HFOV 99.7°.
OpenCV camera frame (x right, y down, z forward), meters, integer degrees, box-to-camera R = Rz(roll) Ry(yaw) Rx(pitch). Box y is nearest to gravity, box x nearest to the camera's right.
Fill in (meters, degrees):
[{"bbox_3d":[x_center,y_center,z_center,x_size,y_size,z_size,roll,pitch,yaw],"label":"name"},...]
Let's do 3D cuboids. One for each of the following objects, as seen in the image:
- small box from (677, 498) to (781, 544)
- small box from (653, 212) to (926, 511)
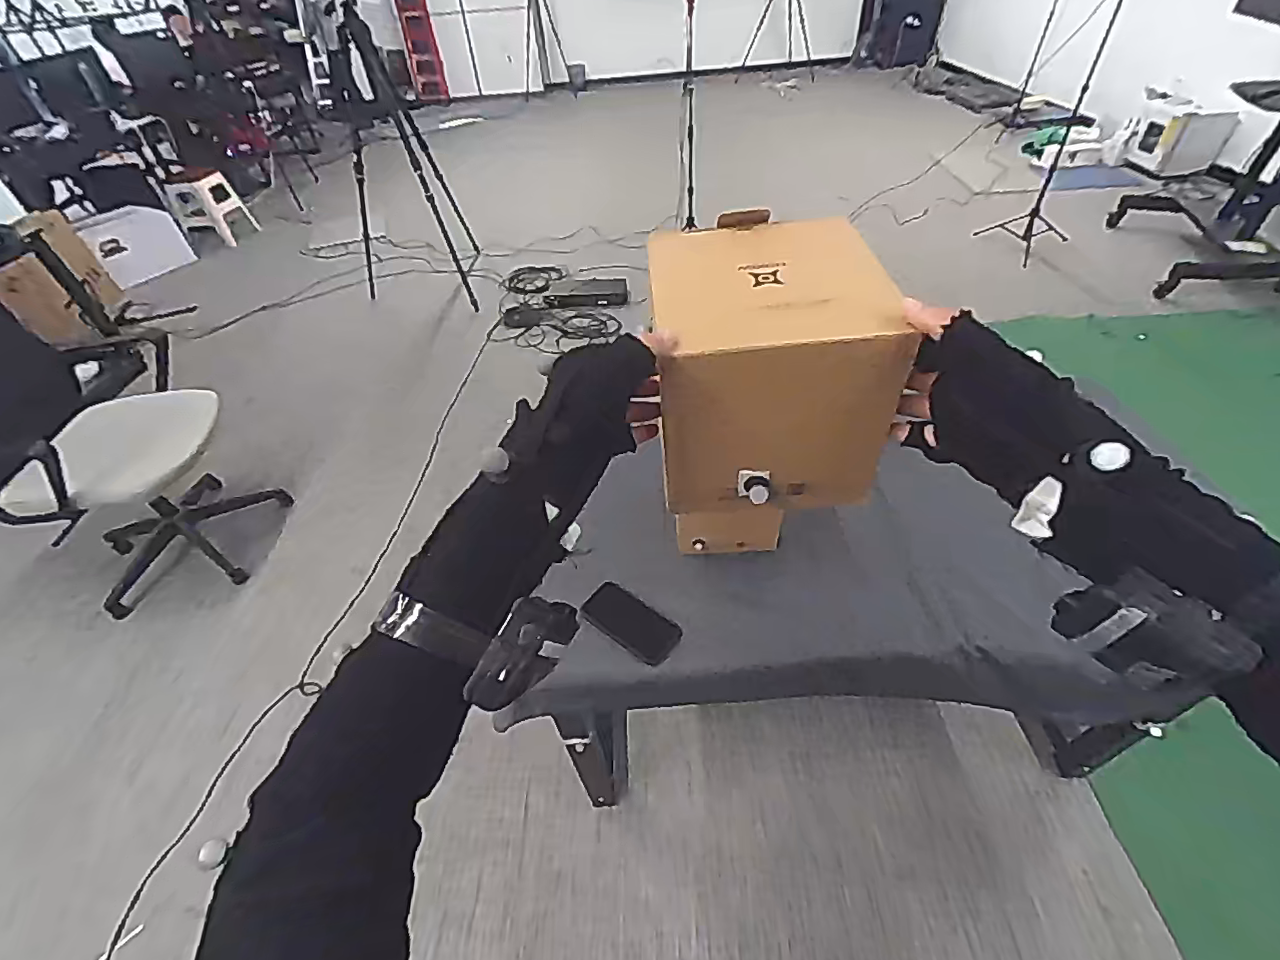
[{"bbox_3d":[0.147,-0.003,0.924,0.168,0.176,0.179,-2,44,3],"label":"small box"},{"bbox_3d":[0.099,-0.096,0.449,0.168,0.176,0.179,-5,49,2],"label":"small box"}]
